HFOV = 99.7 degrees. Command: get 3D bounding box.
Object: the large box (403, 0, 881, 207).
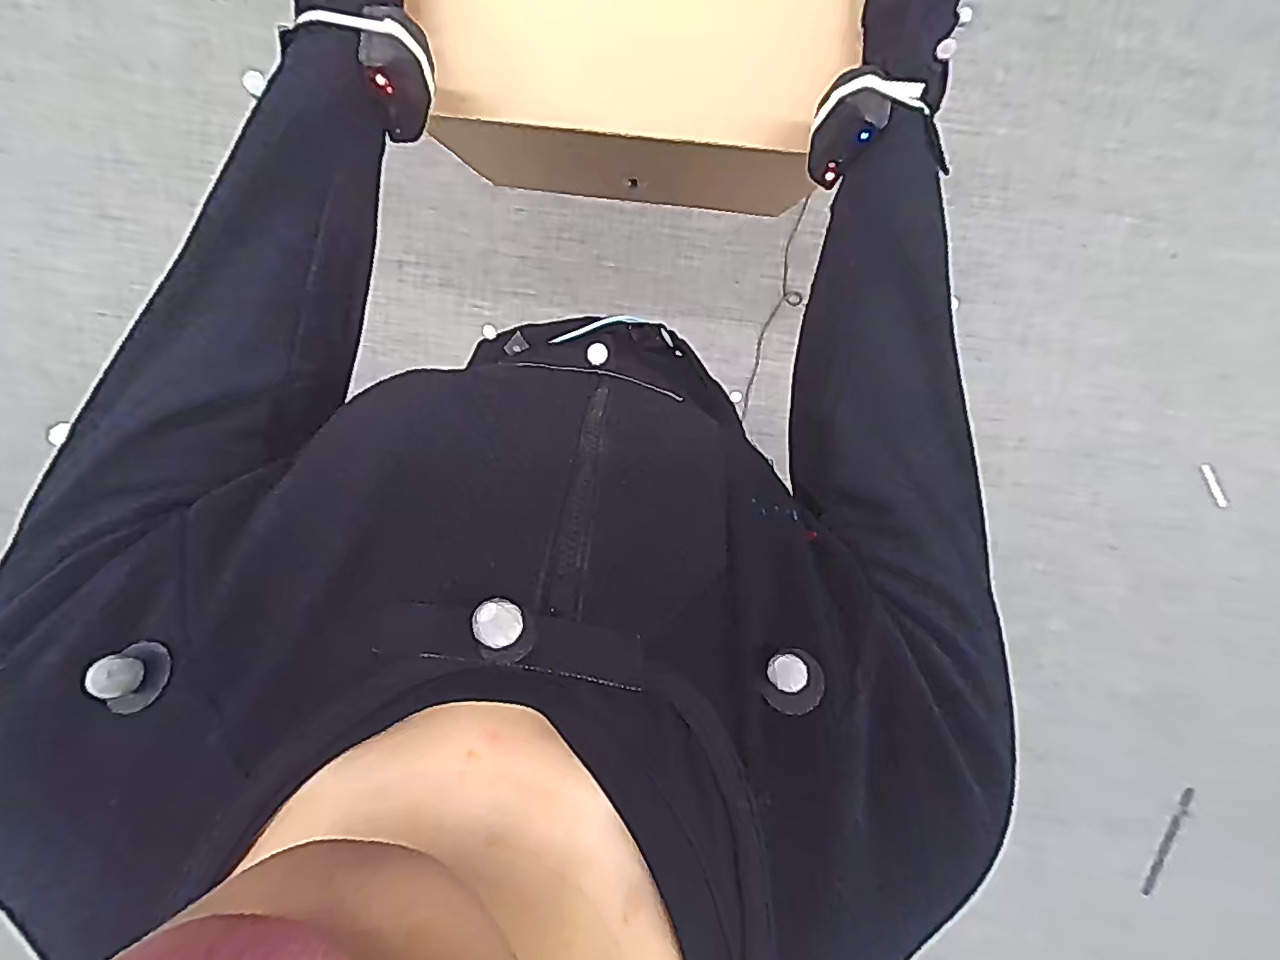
[{"bbox_3d":[0.010,-0.495,0.574,0.408,0.320,0.320,6,107,0],"label":"large box"}]
